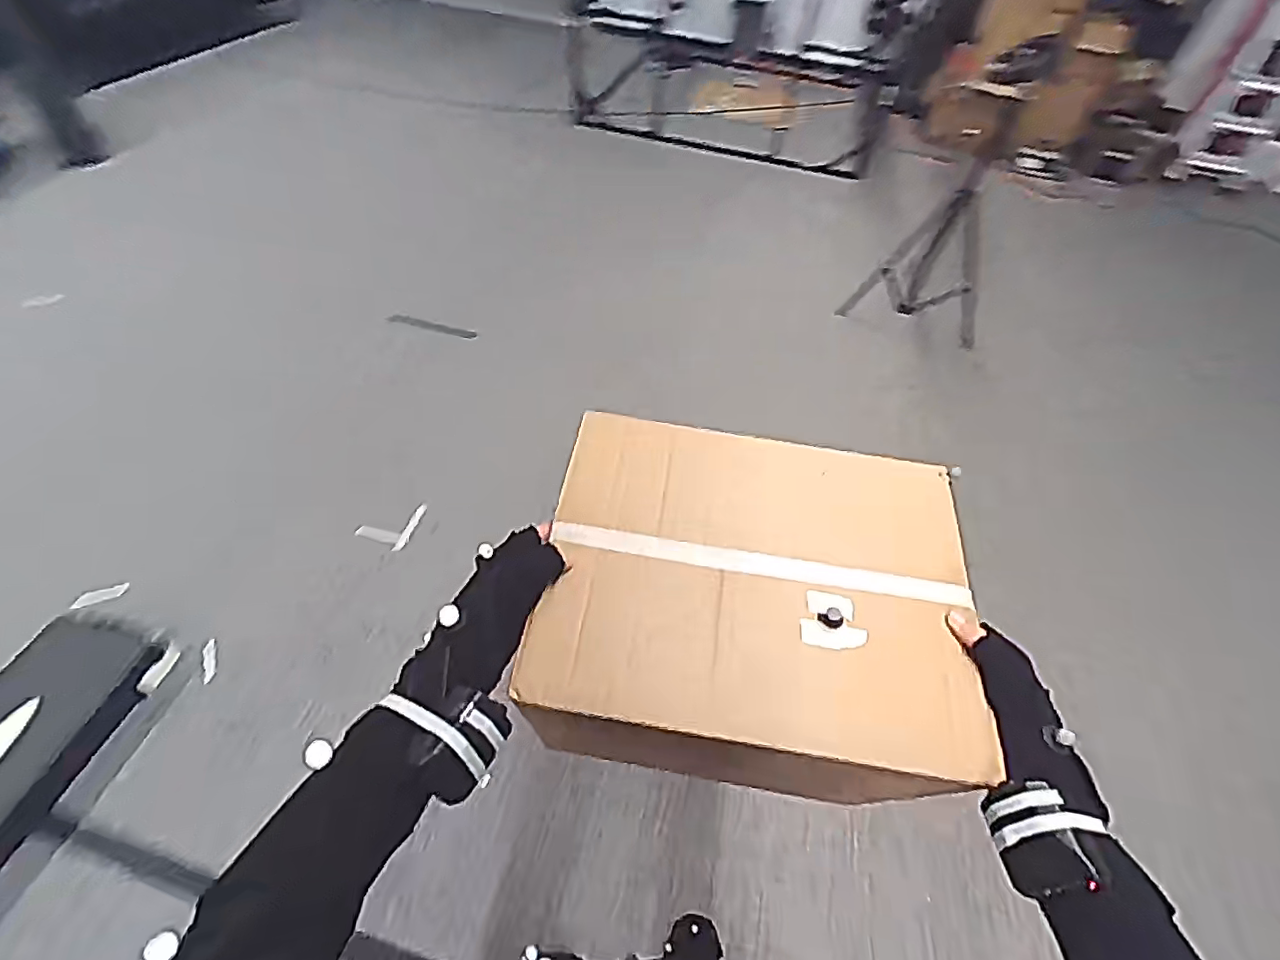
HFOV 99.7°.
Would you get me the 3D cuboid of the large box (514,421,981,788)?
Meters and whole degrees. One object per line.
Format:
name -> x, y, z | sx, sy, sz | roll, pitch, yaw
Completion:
large box -> 0.096, 0.163, 0.655 | 0.408, 0.320, 0.320 | 8, 57, 1
